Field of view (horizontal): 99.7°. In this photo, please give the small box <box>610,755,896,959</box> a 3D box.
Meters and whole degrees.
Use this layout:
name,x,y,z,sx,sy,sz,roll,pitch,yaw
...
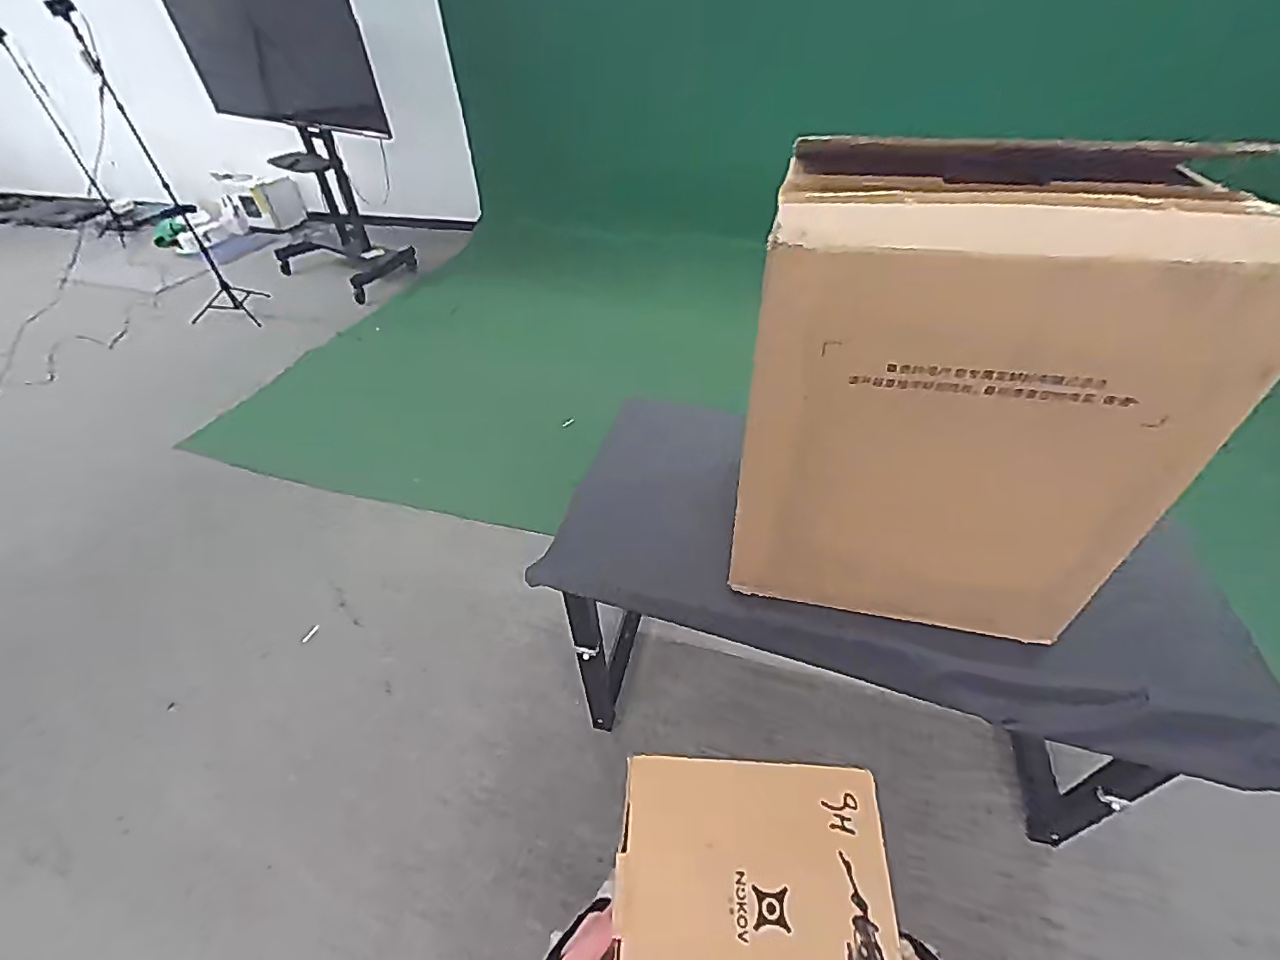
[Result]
name,x,y,z,sx,sy,sz,roll,pitch,yaw
small box,0.073,0.318,0.409,0.179,0.176,0.168,3,56,3
